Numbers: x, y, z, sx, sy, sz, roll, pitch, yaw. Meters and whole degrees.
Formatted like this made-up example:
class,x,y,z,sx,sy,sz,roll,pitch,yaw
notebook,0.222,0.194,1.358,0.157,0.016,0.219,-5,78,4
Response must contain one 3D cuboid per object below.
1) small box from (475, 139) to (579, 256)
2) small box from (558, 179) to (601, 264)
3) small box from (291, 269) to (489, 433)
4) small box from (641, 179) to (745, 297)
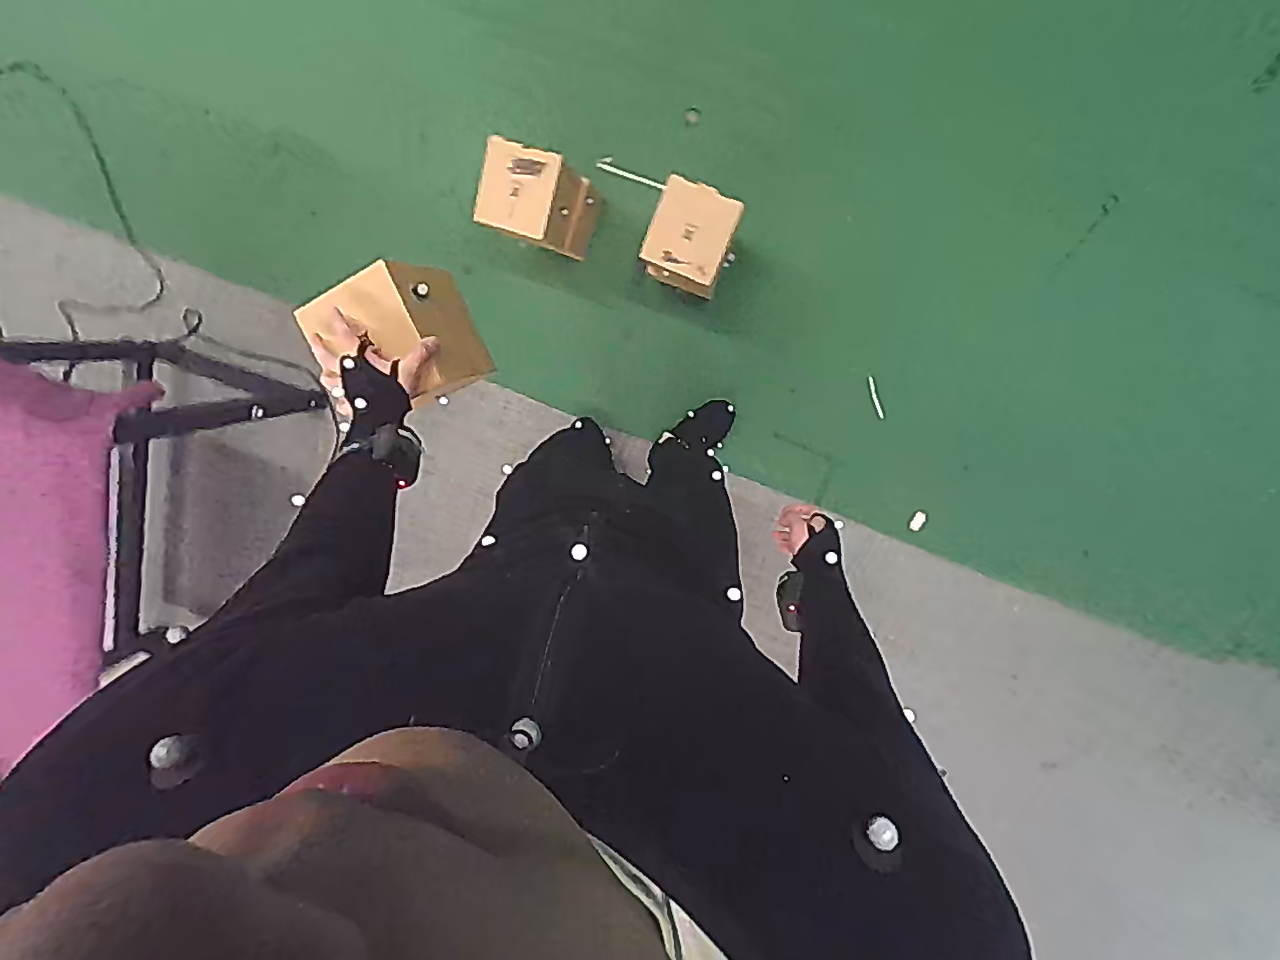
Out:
class,x,y,z,sx,sy,sz,roll,pitch,yaw
small box,-0.250,-0.636,1.239,0.168,0.176,0.179,20,106,5
small box,-0.214,-0.678,1.394,0.168,0.176,0.179,22,105,4
small box,-0.362,-0.192,0.814,0.168,0.176,0.179,-21,101,18
small box,0.117,-0.528,1.204,0.168,0.176,0.179,25,106,2
